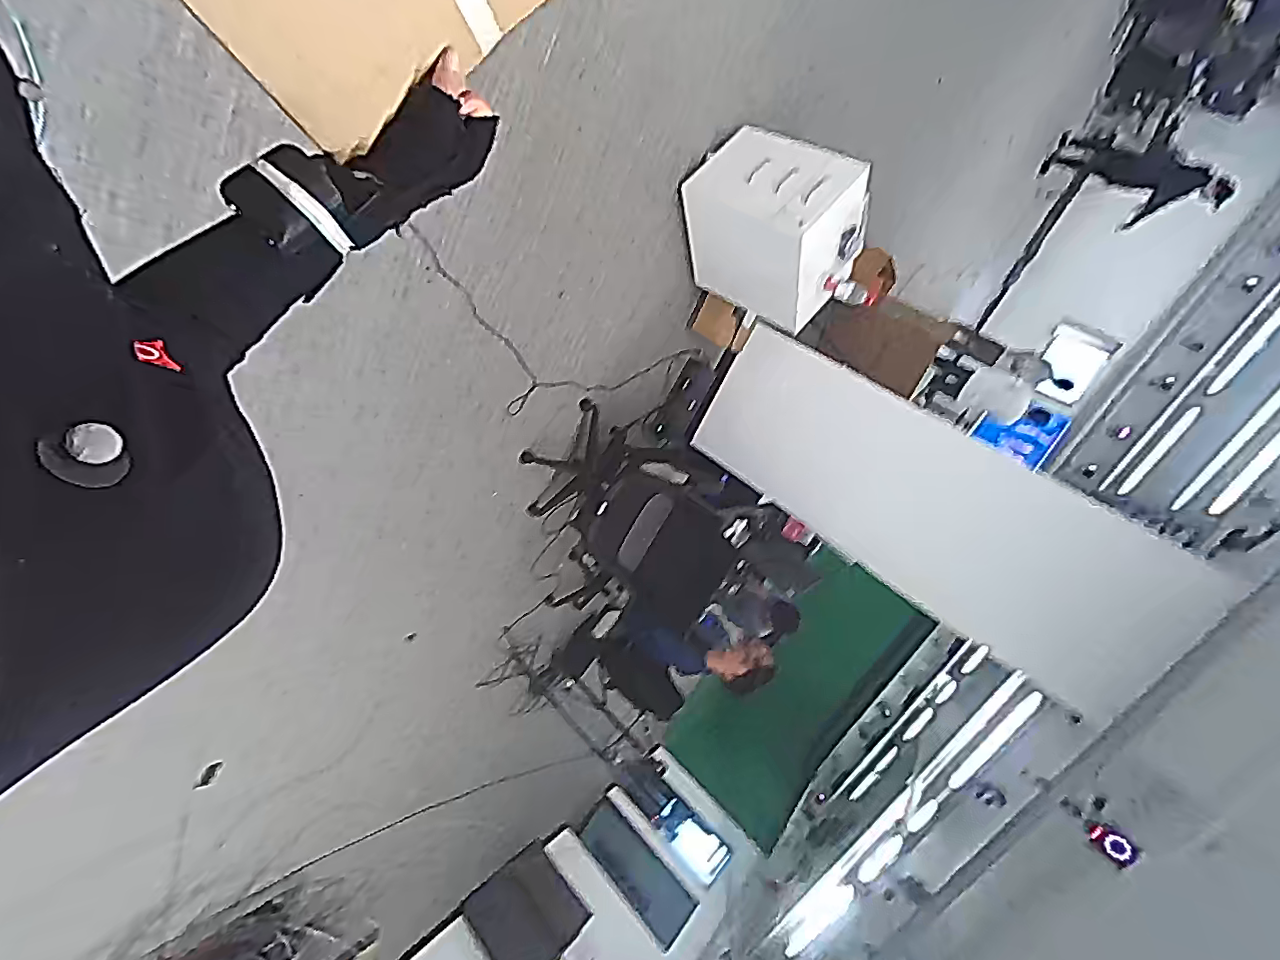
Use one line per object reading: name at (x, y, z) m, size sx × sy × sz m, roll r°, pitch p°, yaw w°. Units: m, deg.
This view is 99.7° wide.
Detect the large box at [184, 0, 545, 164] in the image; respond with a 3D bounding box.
large box at (-0.269, -0.516, 0.320) m, size 0.320 × 0.320 × 0.408 m, roll -40°, pitch 157°, yaw 1°
